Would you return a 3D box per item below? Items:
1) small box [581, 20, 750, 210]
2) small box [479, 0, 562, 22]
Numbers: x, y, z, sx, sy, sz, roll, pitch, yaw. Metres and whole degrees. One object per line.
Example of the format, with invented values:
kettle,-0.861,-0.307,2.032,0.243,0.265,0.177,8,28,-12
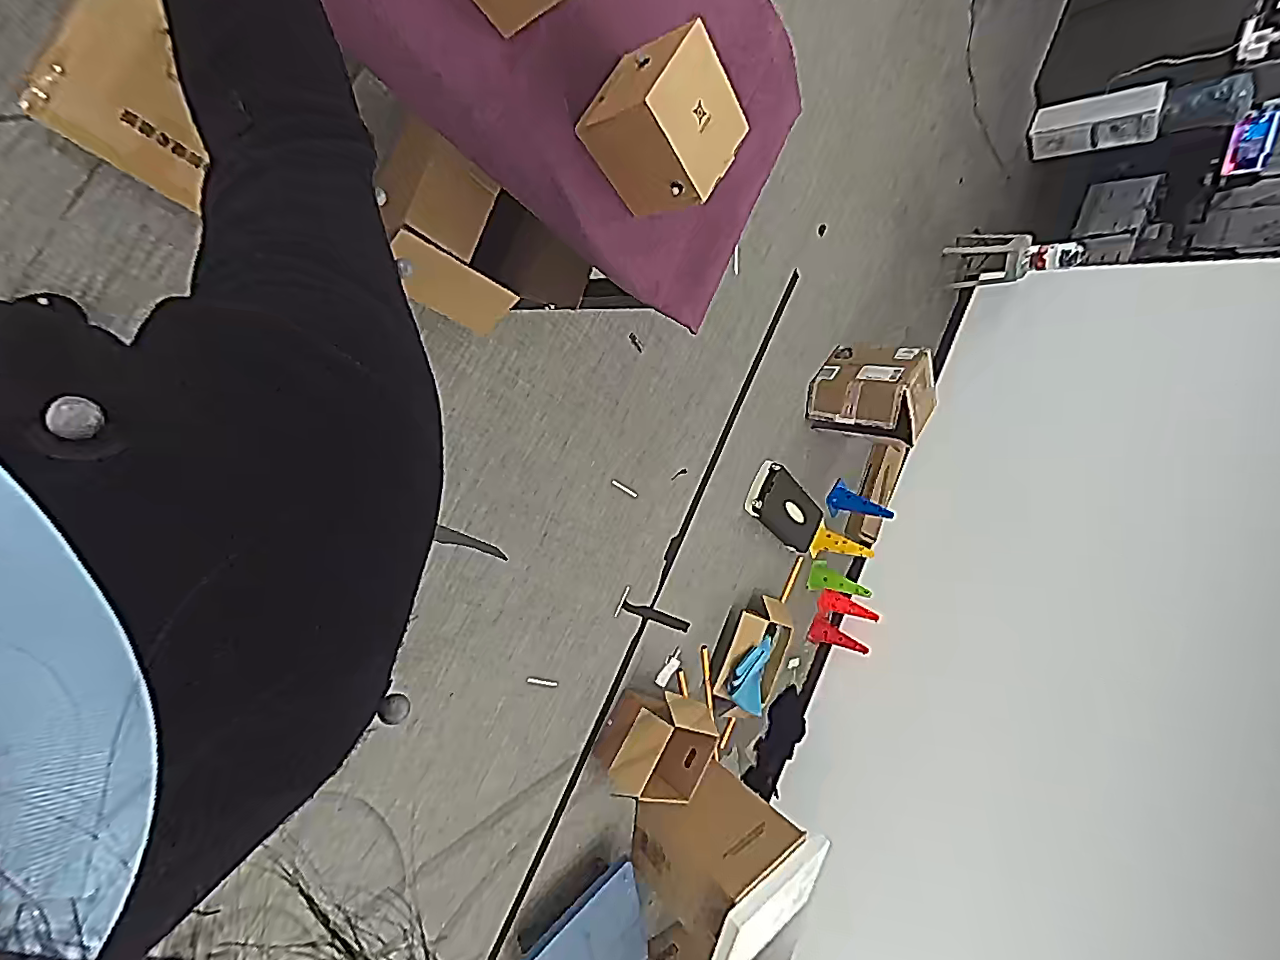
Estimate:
small box,0.039,-0.558,0.858,0.179,0.176,0.168,40,74,-45
small box,-0.142,-0.691,0.632,0.179,0.176,0.168,30,79,-46
